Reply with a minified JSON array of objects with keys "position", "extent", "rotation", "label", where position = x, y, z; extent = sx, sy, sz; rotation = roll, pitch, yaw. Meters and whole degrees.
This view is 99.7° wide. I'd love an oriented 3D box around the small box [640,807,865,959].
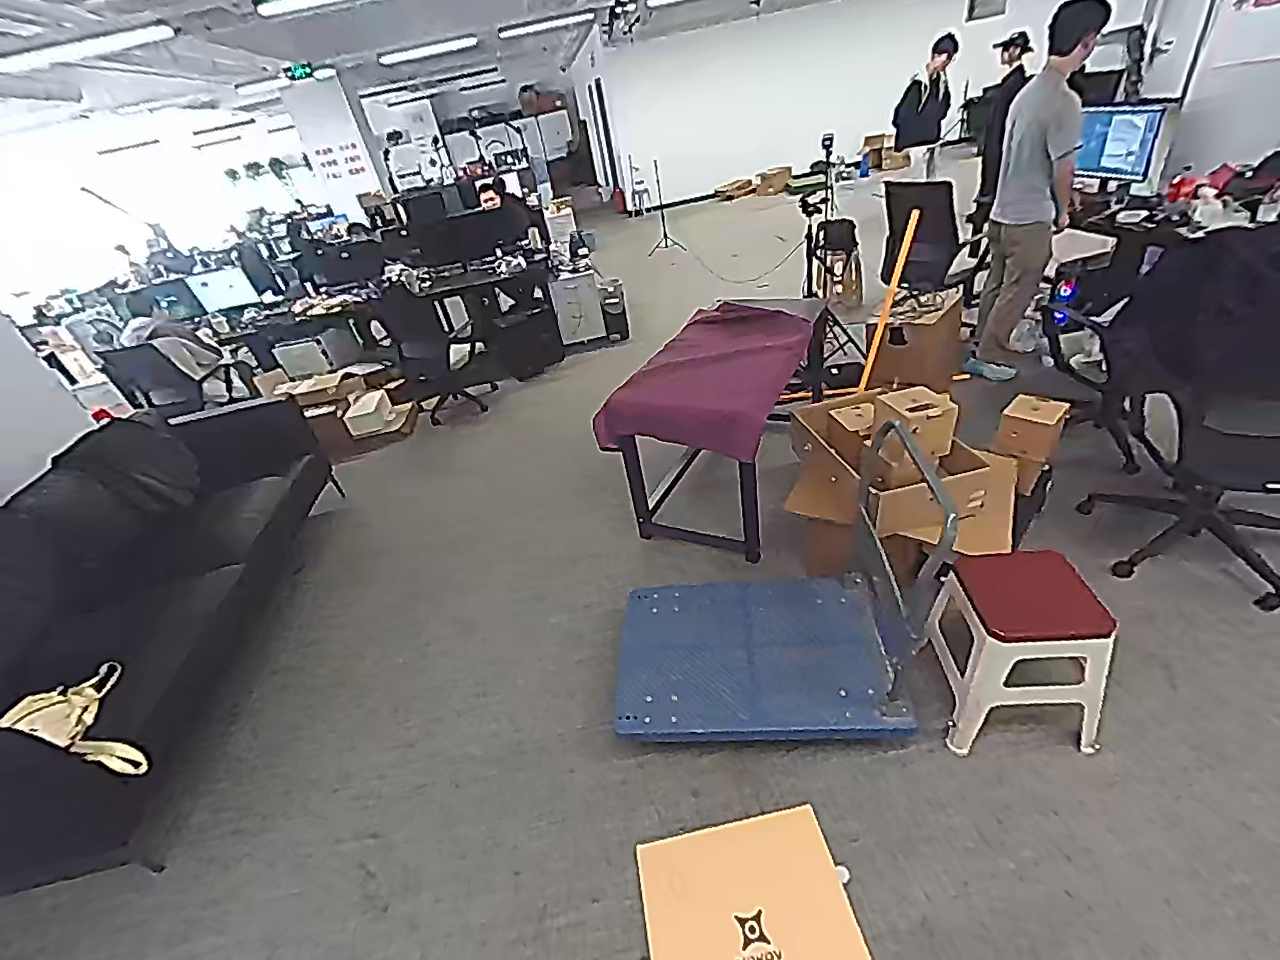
[{"position":[0.100,0.431,0.477],"extent":[0.168,0.176,0.179],"rotation":[-12,36,-1],"label":"small box"}]
